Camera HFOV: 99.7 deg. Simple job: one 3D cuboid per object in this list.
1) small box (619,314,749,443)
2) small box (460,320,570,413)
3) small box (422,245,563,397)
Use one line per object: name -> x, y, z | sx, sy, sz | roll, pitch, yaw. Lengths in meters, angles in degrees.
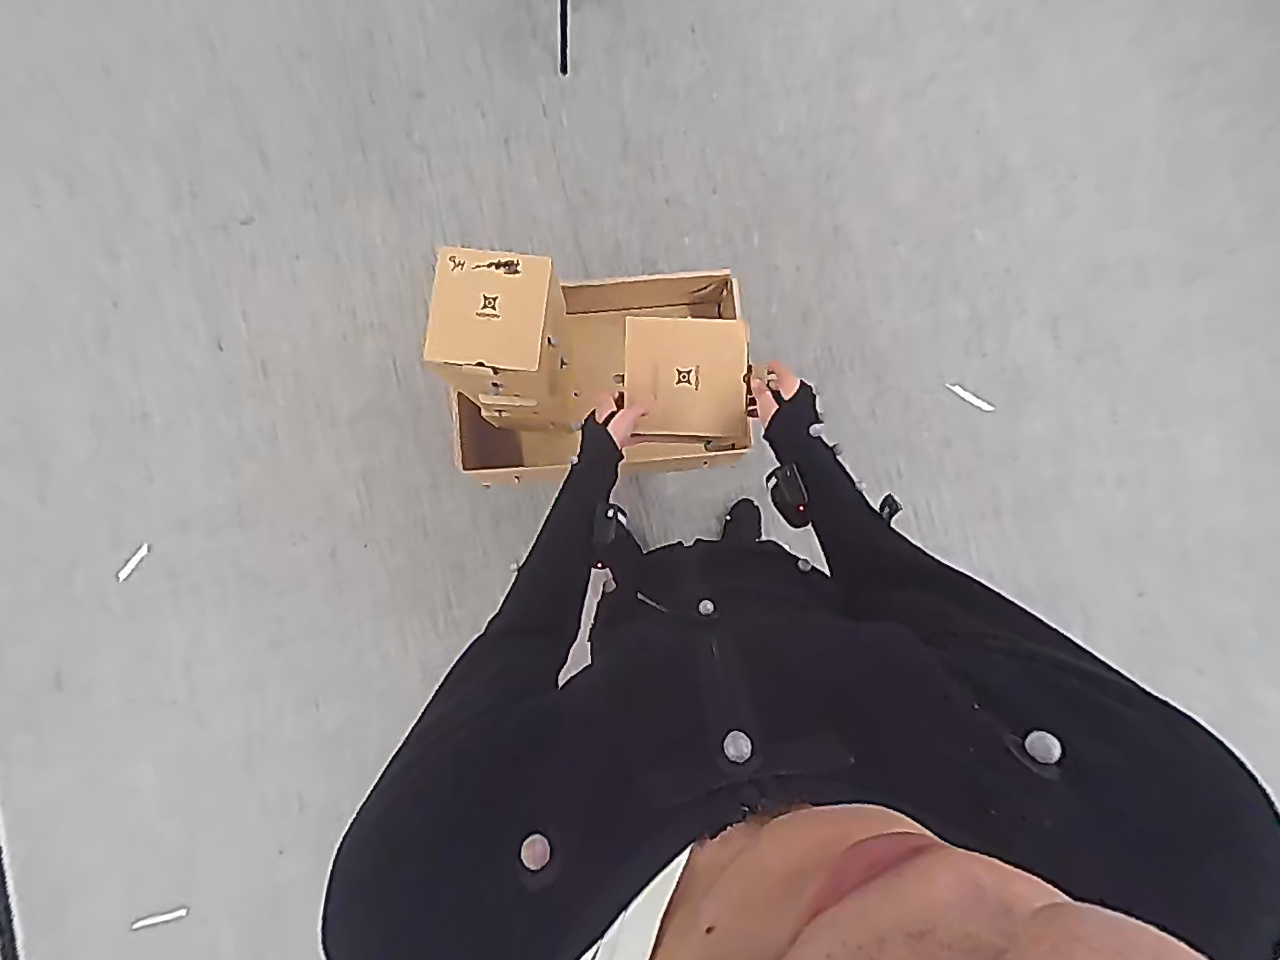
small box -> 0.059, -0.146, 0.829 | 0.179, 0.176, 0.168 | 2, 90, -2
small box -> -0.224, -0.228, 1.014 | 0.168, 0.176, 0.179 | 2, 84, -1
small box -> -0.219, -0.238, 0.850 | 0.168, 0.176, 0.179 | 7, 85, 0
